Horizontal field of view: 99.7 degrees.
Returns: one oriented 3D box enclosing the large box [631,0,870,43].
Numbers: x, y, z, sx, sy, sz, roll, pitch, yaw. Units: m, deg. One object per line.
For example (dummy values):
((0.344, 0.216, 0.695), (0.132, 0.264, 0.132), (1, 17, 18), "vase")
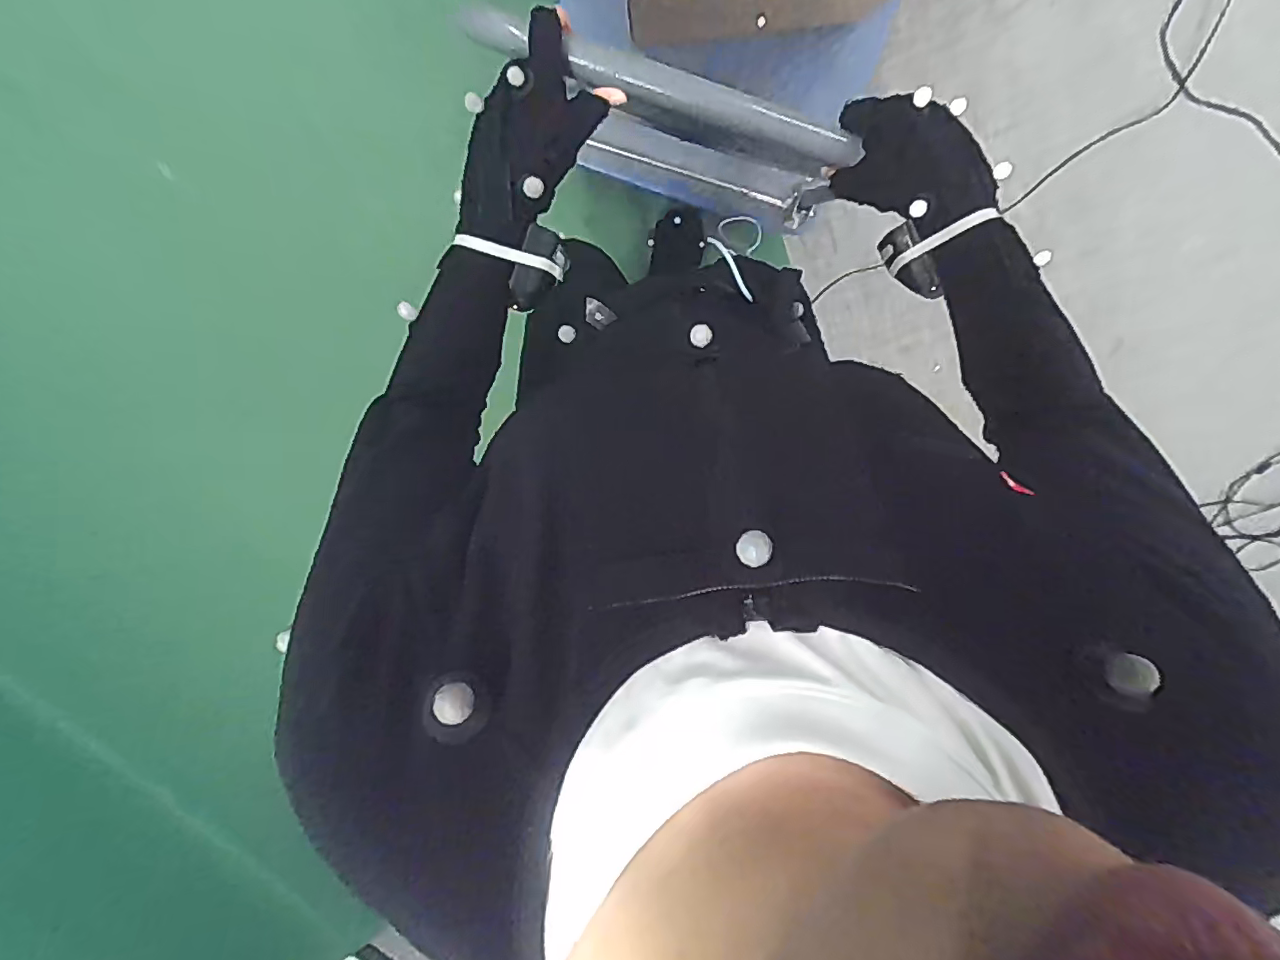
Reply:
((0.176, -0.868, 0.767), (0.408, 0.320, 0.320), (-4, 118, 4), "large box")
